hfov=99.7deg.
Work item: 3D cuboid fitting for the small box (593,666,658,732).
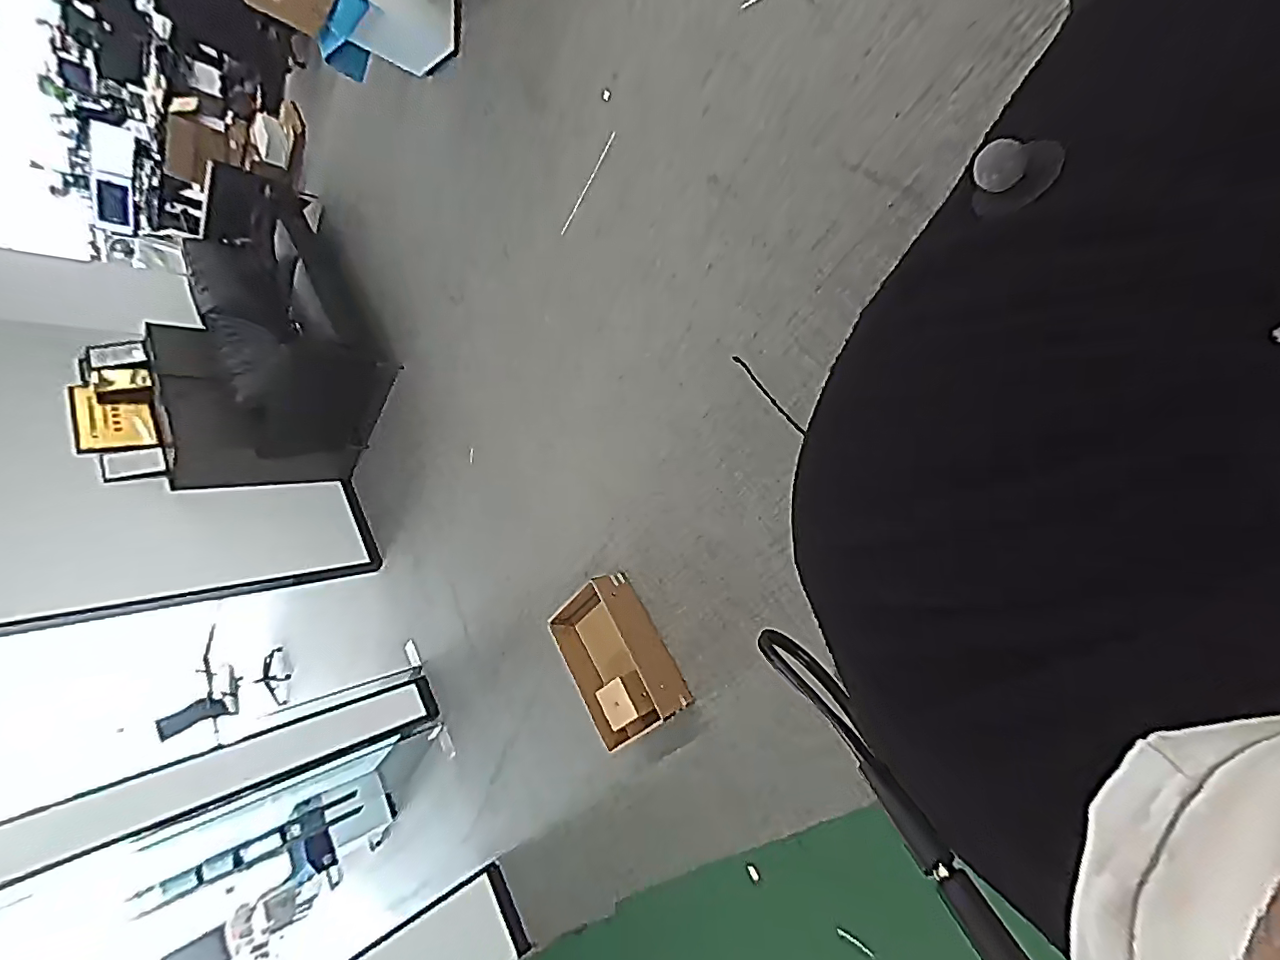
[{"bbox_3d":[-0.051,0.874,2.171,0.179,0.176,0.168,-47,63,34],"label":"small box"}]
